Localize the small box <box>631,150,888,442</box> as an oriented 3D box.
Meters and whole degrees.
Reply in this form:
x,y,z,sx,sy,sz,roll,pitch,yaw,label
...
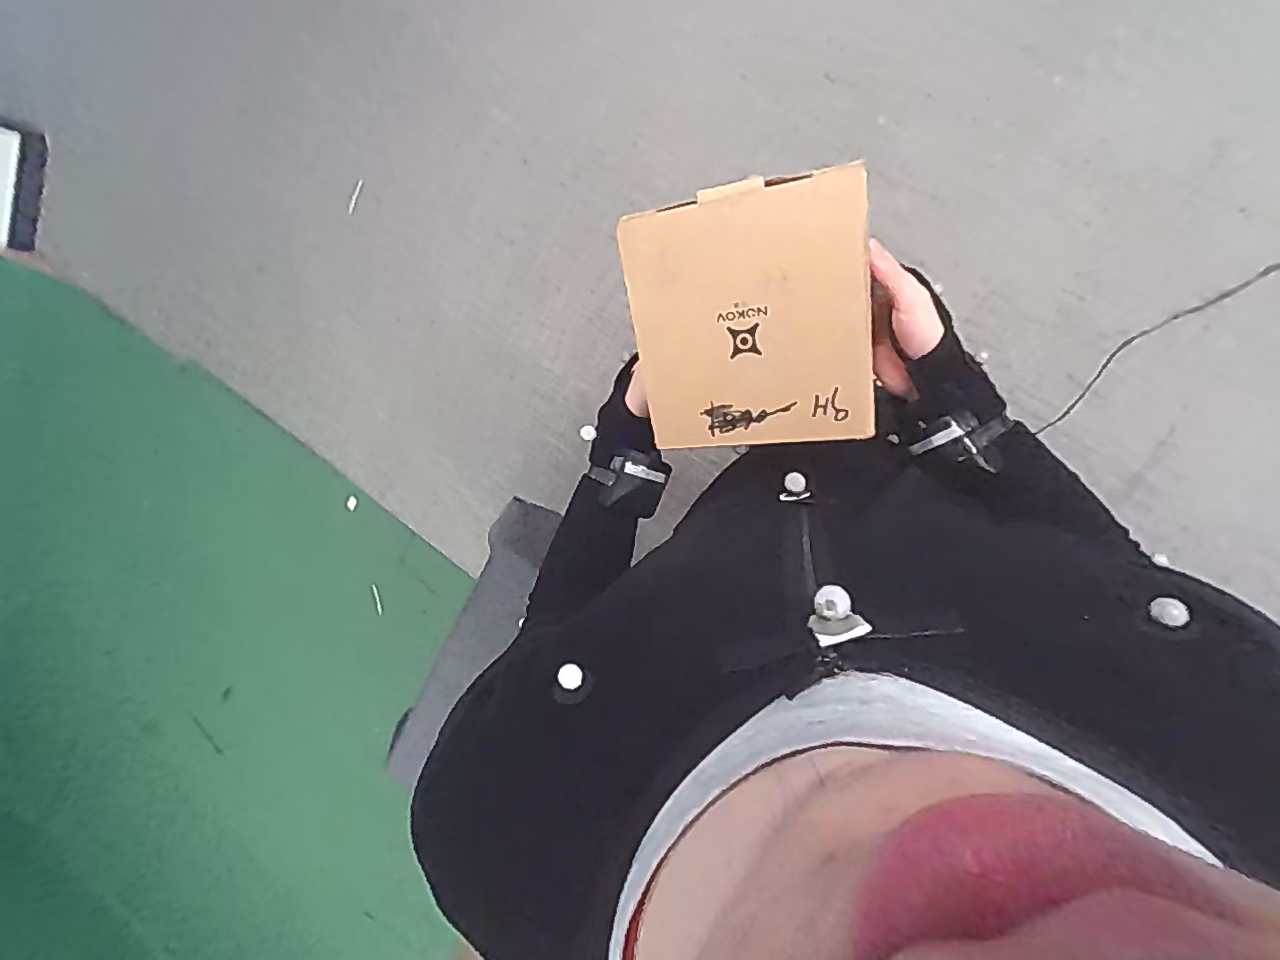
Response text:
x,y,z,sx,sy,sz,roll,pitch,yaw,label
0.109,-0.143,0.445,0.168,0.176,0.179,-2,113,23,small box
